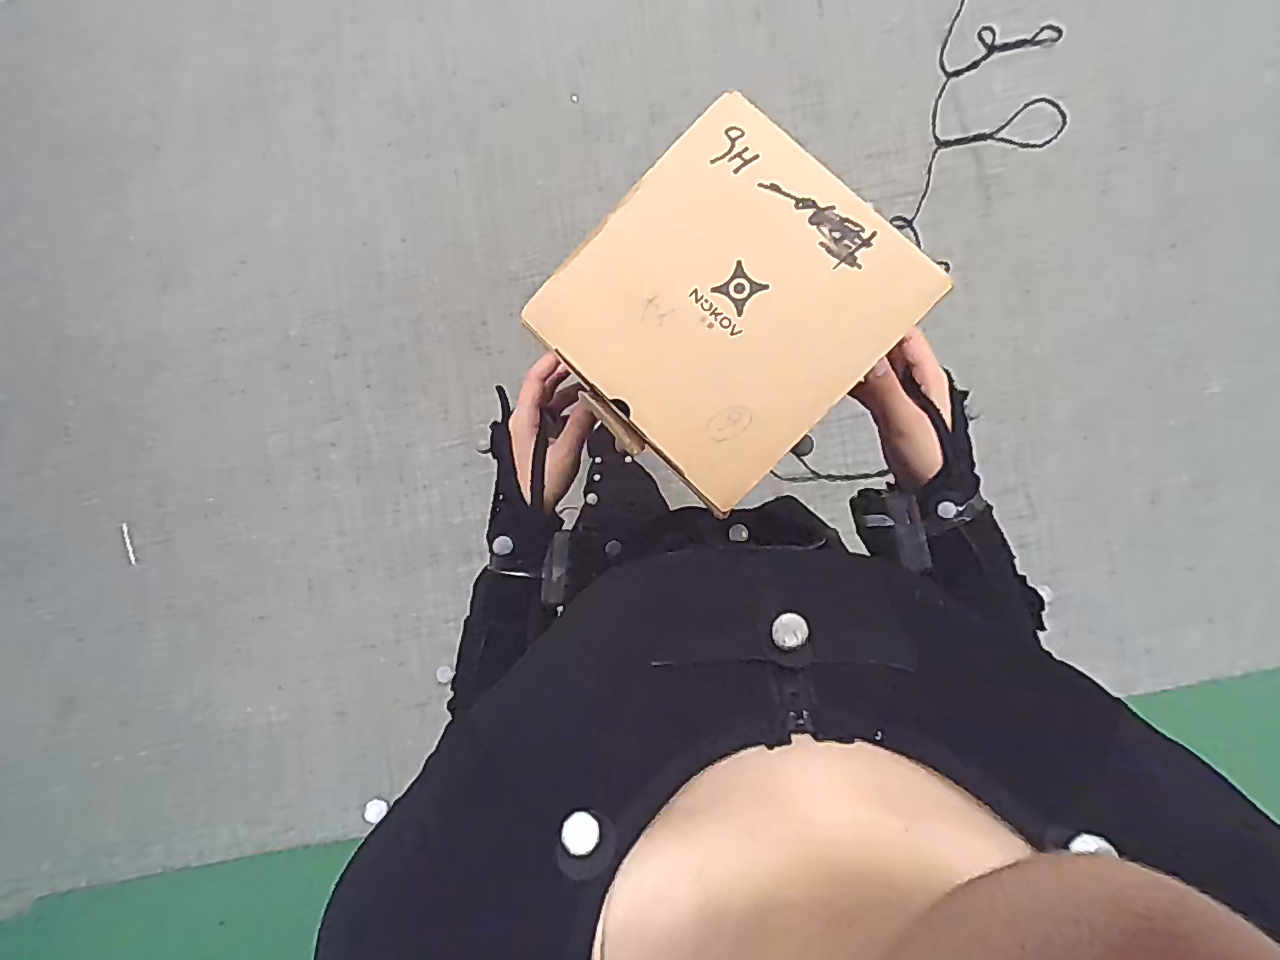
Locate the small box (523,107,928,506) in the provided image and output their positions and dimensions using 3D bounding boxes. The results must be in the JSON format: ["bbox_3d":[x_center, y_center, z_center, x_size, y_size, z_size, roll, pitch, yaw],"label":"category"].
[{"bbox_3d":[0.054,-0.097,0.388,0.168,0.176,0.179,44,93,6],"label":"small box"}]
